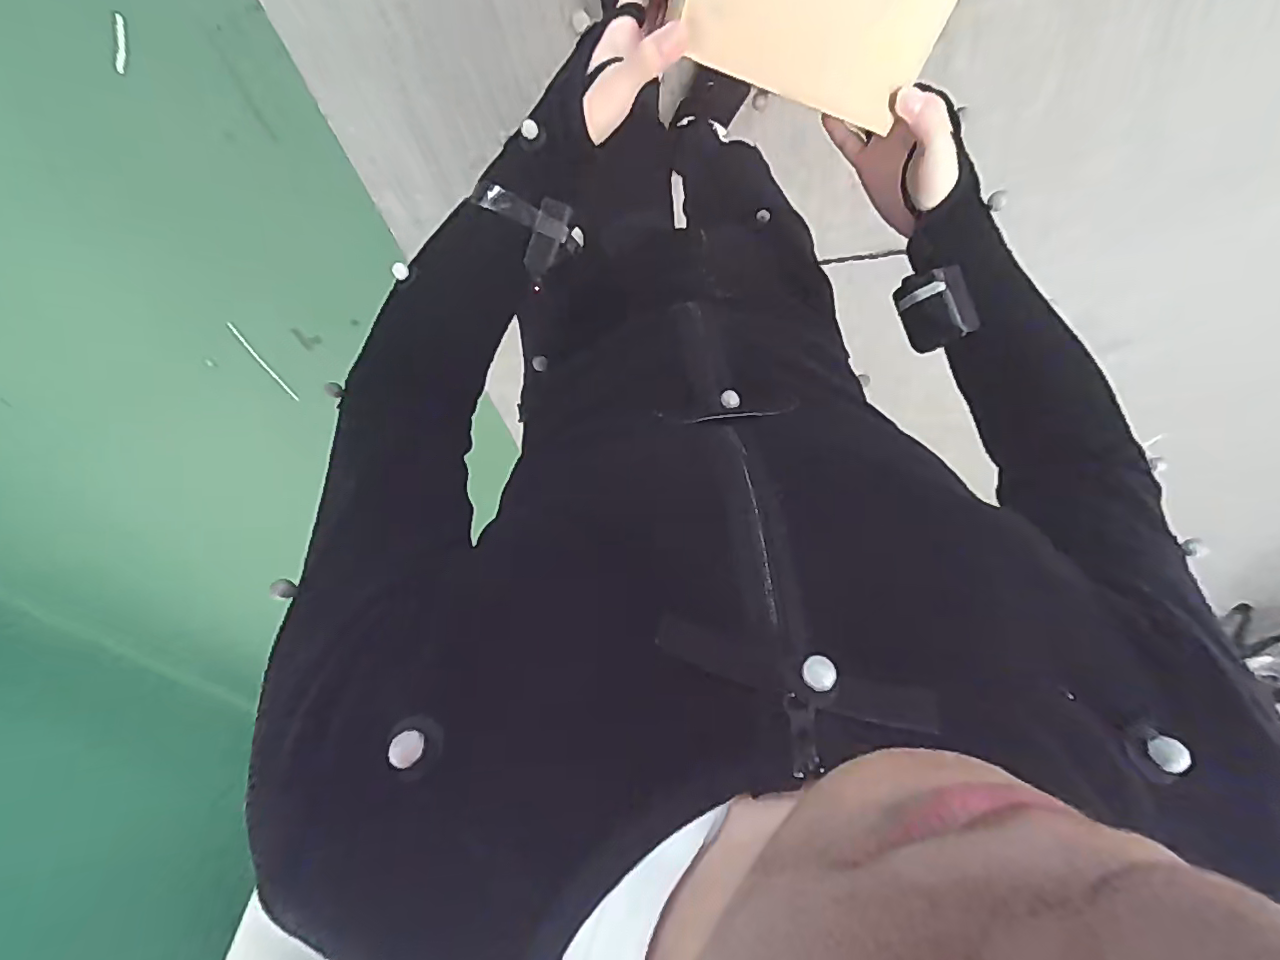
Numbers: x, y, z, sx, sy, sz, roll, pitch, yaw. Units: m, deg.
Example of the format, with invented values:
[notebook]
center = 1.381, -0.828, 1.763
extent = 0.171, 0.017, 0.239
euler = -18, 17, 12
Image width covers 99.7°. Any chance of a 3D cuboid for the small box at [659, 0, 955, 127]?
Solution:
[small box]
center = 0.120, -0.385, 0.385
extent = 0.179, 0.176, 0.168
euler = 11, 131, -13
